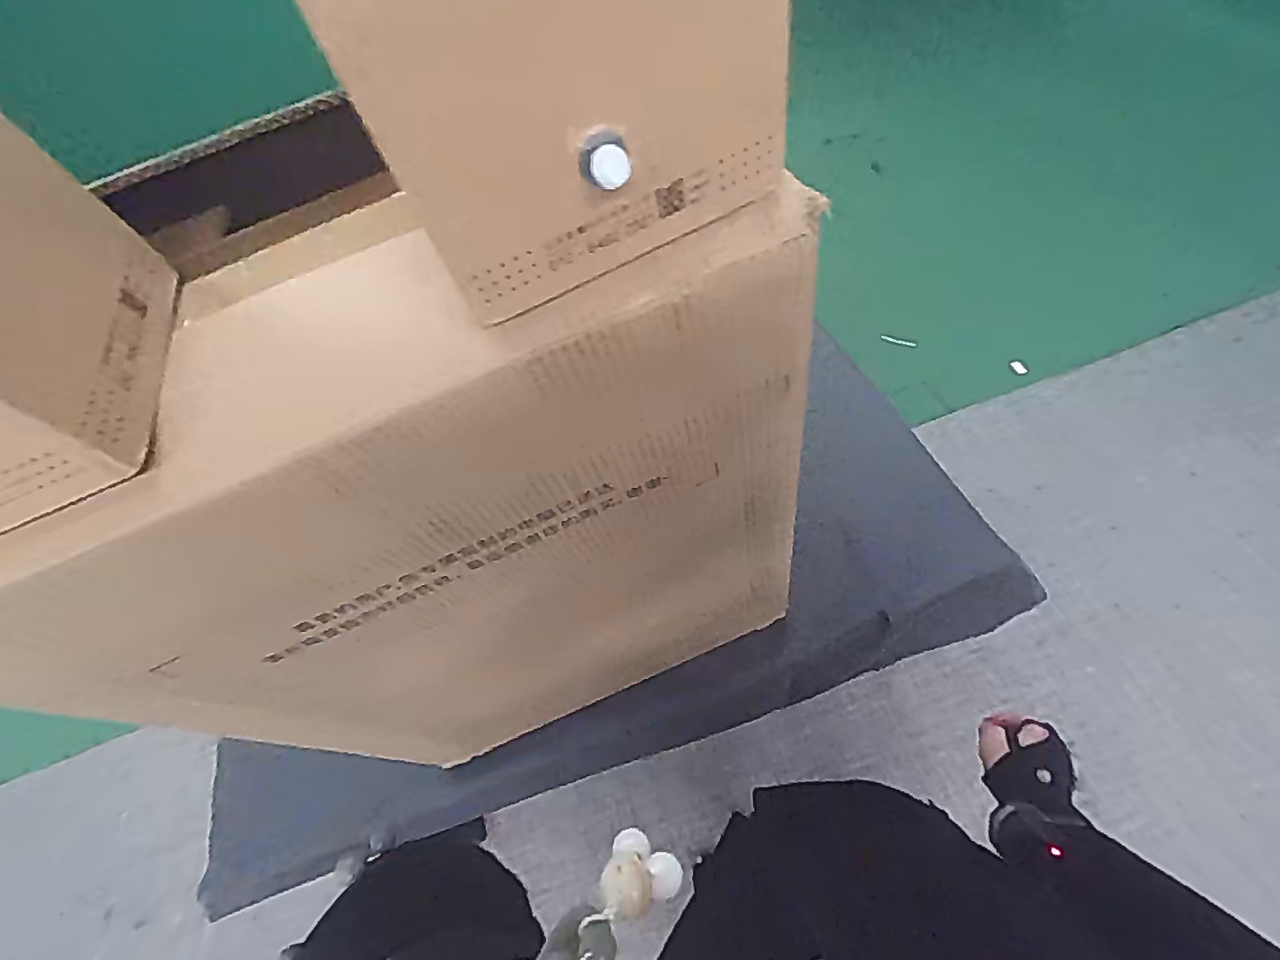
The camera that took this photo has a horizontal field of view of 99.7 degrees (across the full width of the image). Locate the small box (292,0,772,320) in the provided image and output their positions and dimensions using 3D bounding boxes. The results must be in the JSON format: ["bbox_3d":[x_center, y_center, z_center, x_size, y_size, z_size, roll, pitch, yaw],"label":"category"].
[{"bbox_3d":[-0.056,-0.209,0.245,0.168,0.176,0.179,-28,58,-5],"label":"small box"}]
